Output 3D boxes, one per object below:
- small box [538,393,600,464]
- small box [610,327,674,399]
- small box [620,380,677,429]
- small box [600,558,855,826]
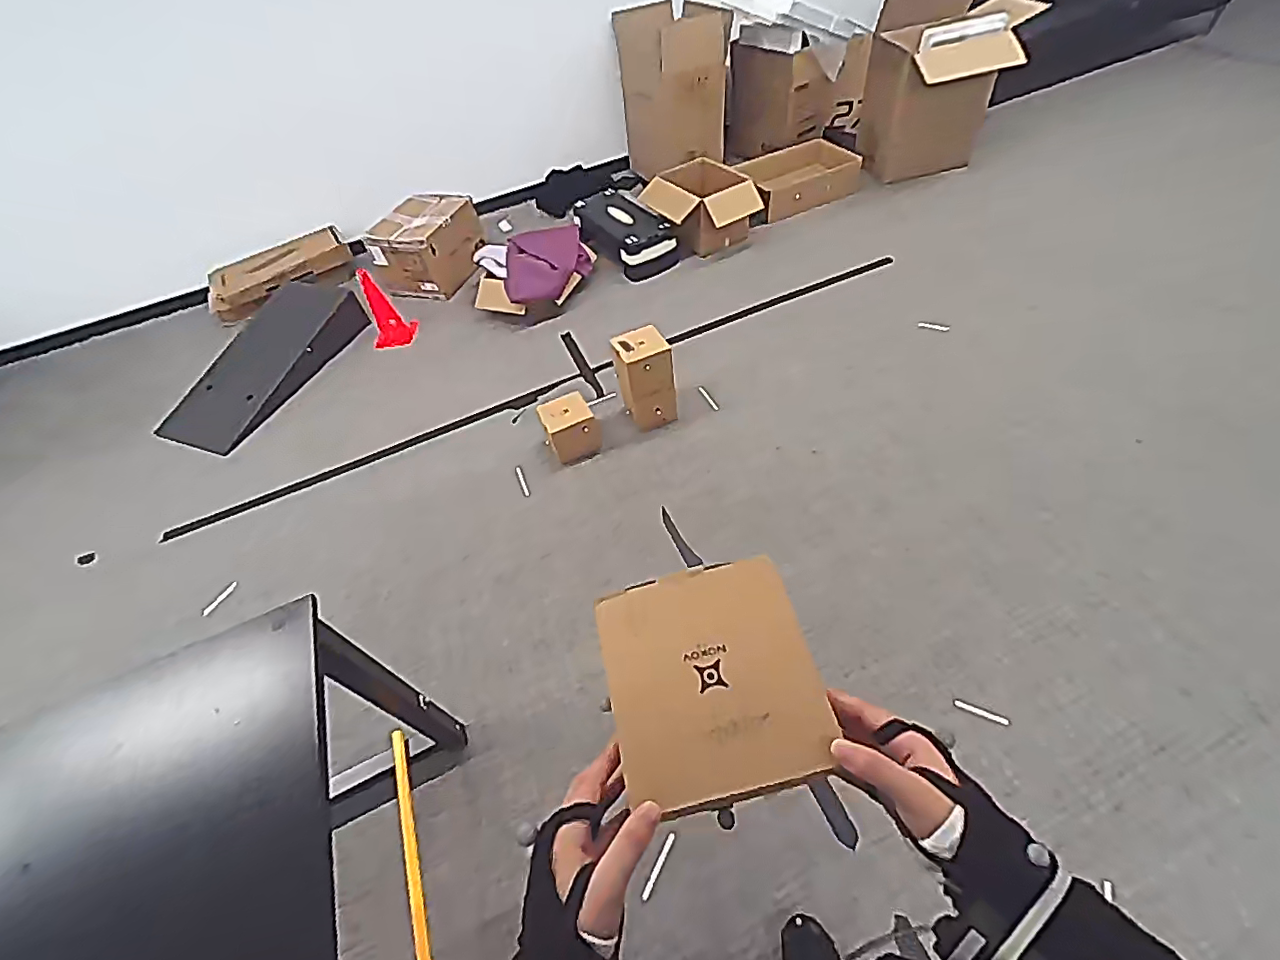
[{"bbox_3d":[-0.261,-0.191,2.037,0.179,0.176,0.168,-25,51,-11],"label":"small box"},{"bbox_3d":[0.011,-0.422,1.971,0.179,0.176,0.168,-22,51,-10],"label":"small box"},{"bbox_3d":[0.036,-0.319,2.098,0.168,0.176,0.179,-21,52,-9],"label":"small box"},{"bbox_3d":[0.066,0.199,0.497,0.168,0.176,0.179,-14,57,-2],"label":"small box"}]
